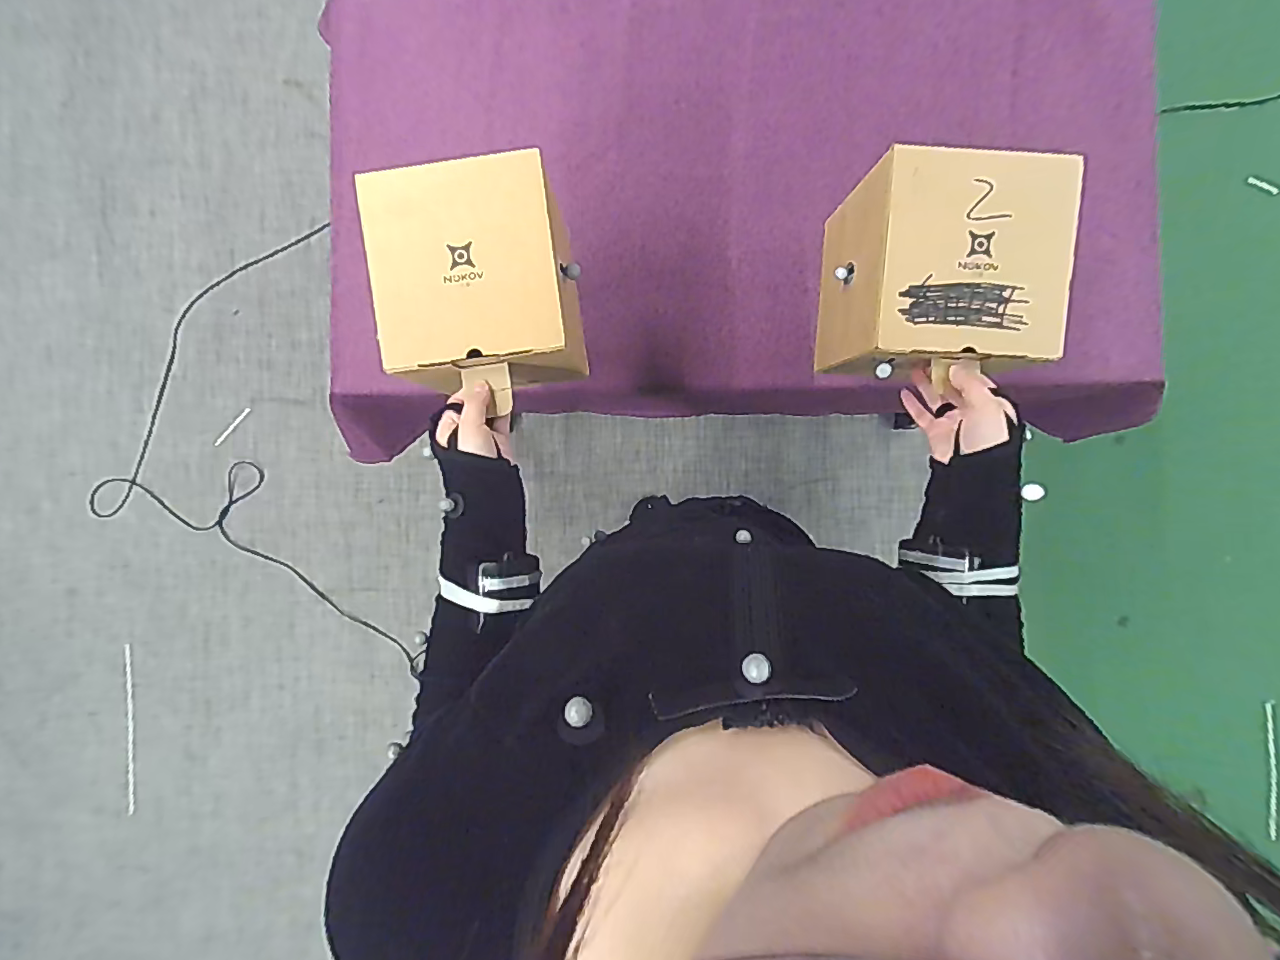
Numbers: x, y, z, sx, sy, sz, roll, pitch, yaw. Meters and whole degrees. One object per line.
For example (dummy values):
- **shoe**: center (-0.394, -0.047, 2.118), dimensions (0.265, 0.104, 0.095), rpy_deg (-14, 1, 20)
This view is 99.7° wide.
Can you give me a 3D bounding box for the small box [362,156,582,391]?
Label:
- **small box**: center (-0.159, -0.199, 0.568), dimensions (0.168, 0.176, 0.179), rpy_deg (-8, 93, 1)
